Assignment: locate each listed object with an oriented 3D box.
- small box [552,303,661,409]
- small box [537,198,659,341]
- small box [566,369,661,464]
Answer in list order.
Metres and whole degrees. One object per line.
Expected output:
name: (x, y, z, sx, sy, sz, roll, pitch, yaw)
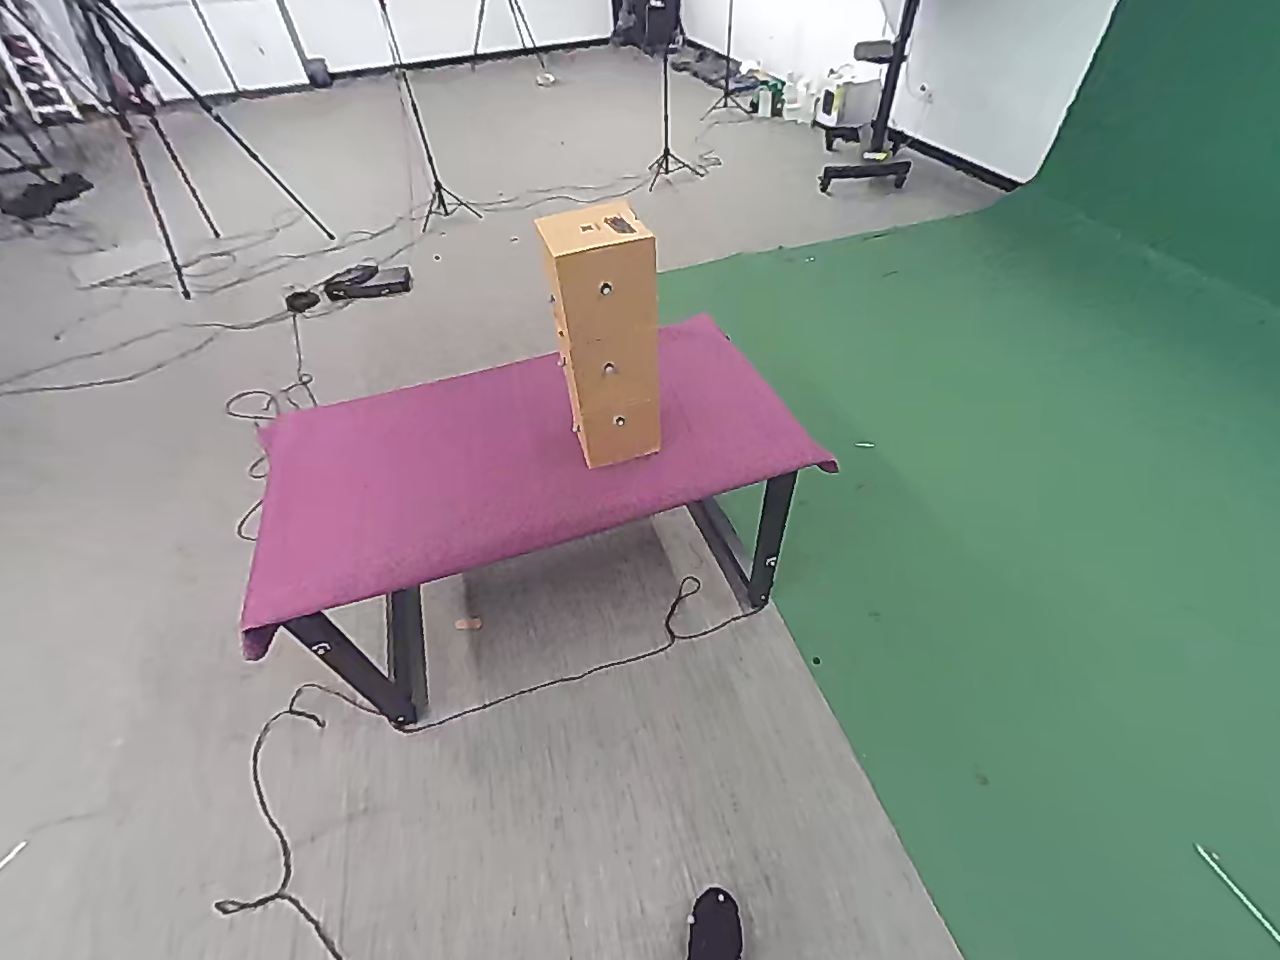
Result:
small box: (-0.065, -0.267, 1.101, 0.179, 0.176, 0.168, -16, 50, -9)
small box: (-0.072, -0.379, 0.980, 0.179, 0.176, 0.168, -17, 50, -10)
small box: (-0.056, -0.157, 1.221, 0.179, 0.176, 0.168, -14, 49, -9)
